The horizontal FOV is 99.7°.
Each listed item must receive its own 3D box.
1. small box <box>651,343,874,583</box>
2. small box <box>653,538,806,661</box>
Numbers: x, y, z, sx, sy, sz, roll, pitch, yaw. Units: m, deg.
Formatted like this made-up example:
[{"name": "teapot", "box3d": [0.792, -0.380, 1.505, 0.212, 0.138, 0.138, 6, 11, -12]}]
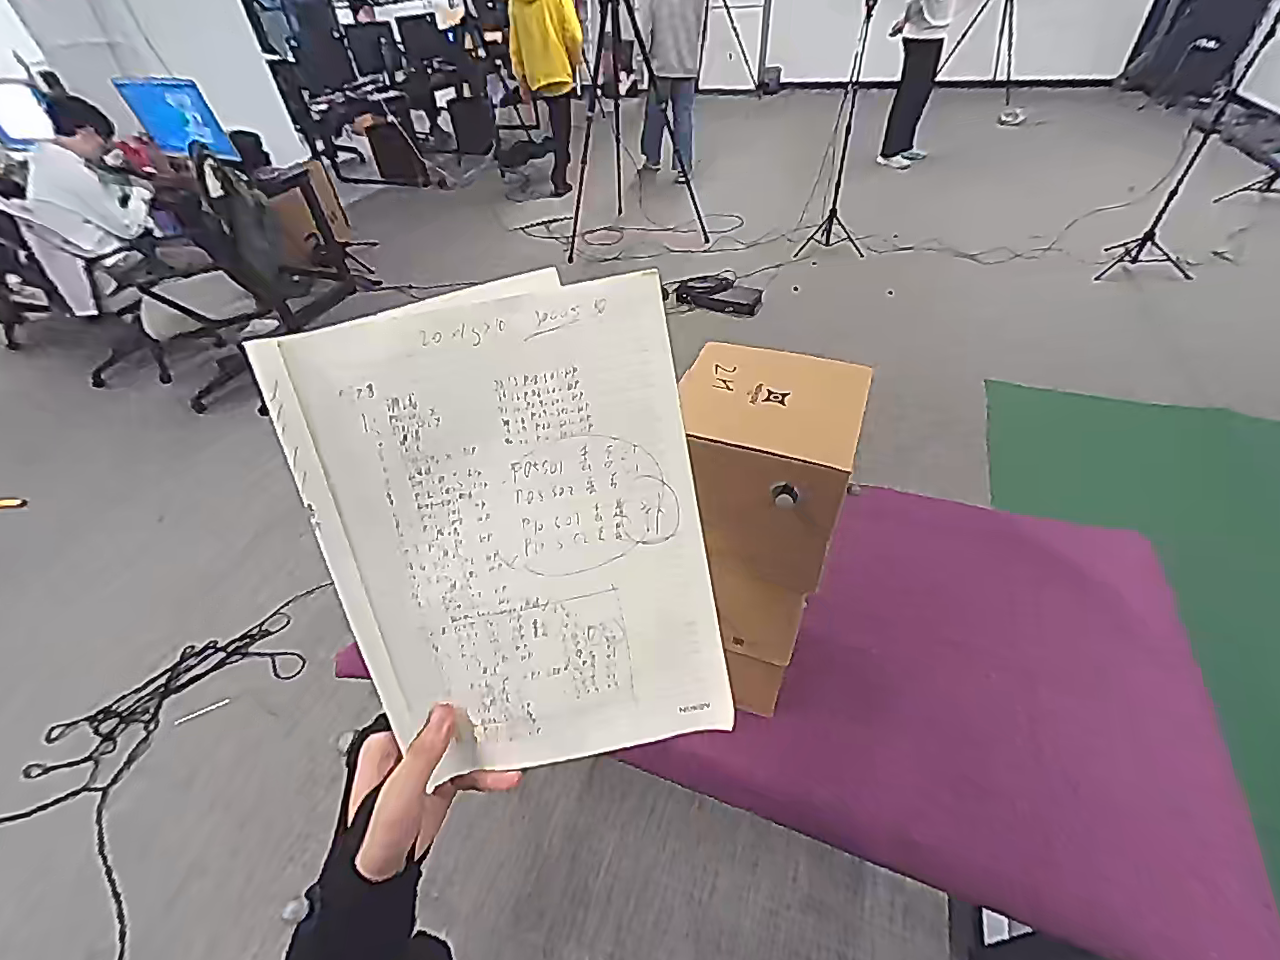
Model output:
[{"name": "small box", "box3d": [0.124, -0.017, 0.563, 0.179, 0.176, 0.168, 15, 45, 19]}, {"name": "small box", "box3d": [0.126, 0.097, 0.683, 0.168, 0.176, 0.179, 13, 45, 17]}]
